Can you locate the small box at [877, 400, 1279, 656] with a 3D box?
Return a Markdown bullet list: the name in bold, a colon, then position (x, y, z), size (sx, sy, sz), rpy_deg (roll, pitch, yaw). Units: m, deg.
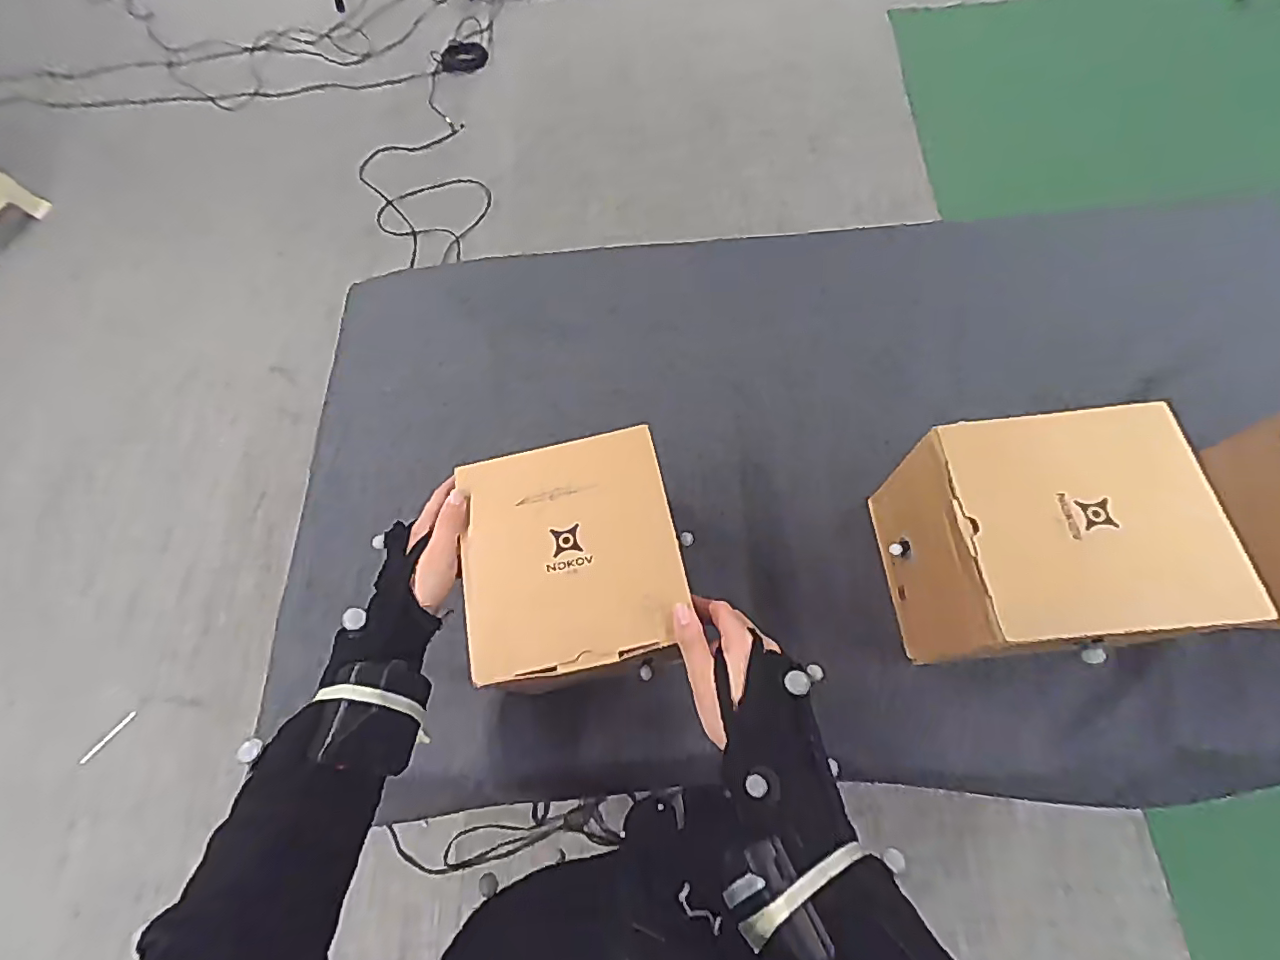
- **small box**: position (0.329, 0.052, 0.455), size (0.179, 0.176, 0.168), rpy_deg (-7, 67, 4)
